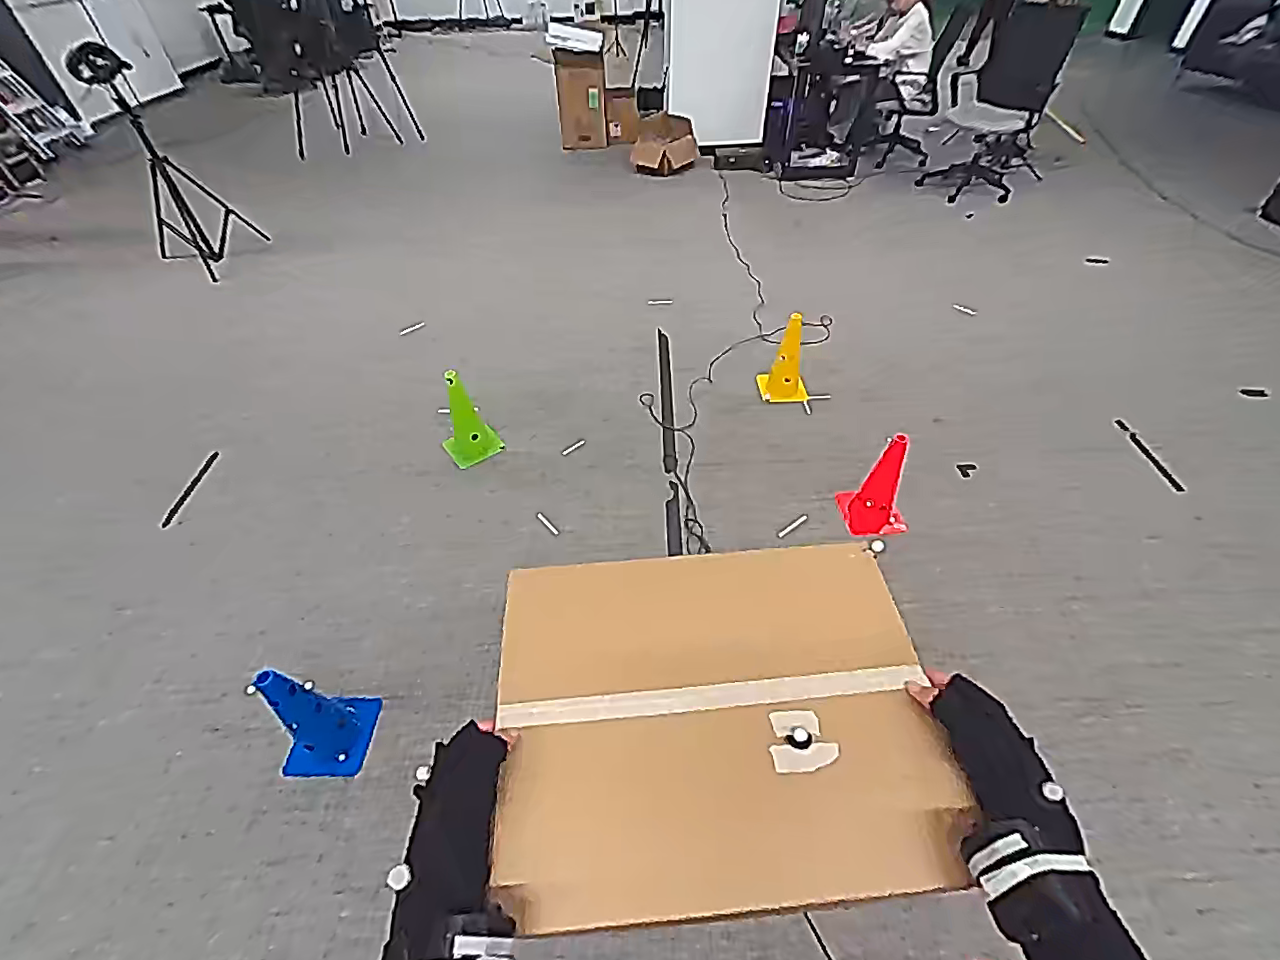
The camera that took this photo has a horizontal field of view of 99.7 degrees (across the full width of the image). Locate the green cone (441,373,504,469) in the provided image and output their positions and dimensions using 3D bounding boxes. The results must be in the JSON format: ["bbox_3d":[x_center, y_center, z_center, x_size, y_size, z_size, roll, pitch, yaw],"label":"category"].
[{"bbox_3d":[-0.685,-0.257,2.074,0.202,0.368,0.200,-32,52,-23],"label":"green cone"}]

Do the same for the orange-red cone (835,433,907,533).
[{"bbox_3d":[0.805,-0.011,1.788,0.198,0.360,0.199,-3,45,-2],"label":"orange-red cone"}]

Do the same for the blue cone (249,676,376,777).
[{"bbox_3d":[-0.819,0.571,1.314,0.192,0.380,0.193,0,46,3],"label":"blue cone"}]

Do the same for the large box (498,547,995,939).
[{"bbox_3d":[0.074,0.305,0.625,0.408,0.320,0.320,-4,50,-3],"label":"large box"}]
